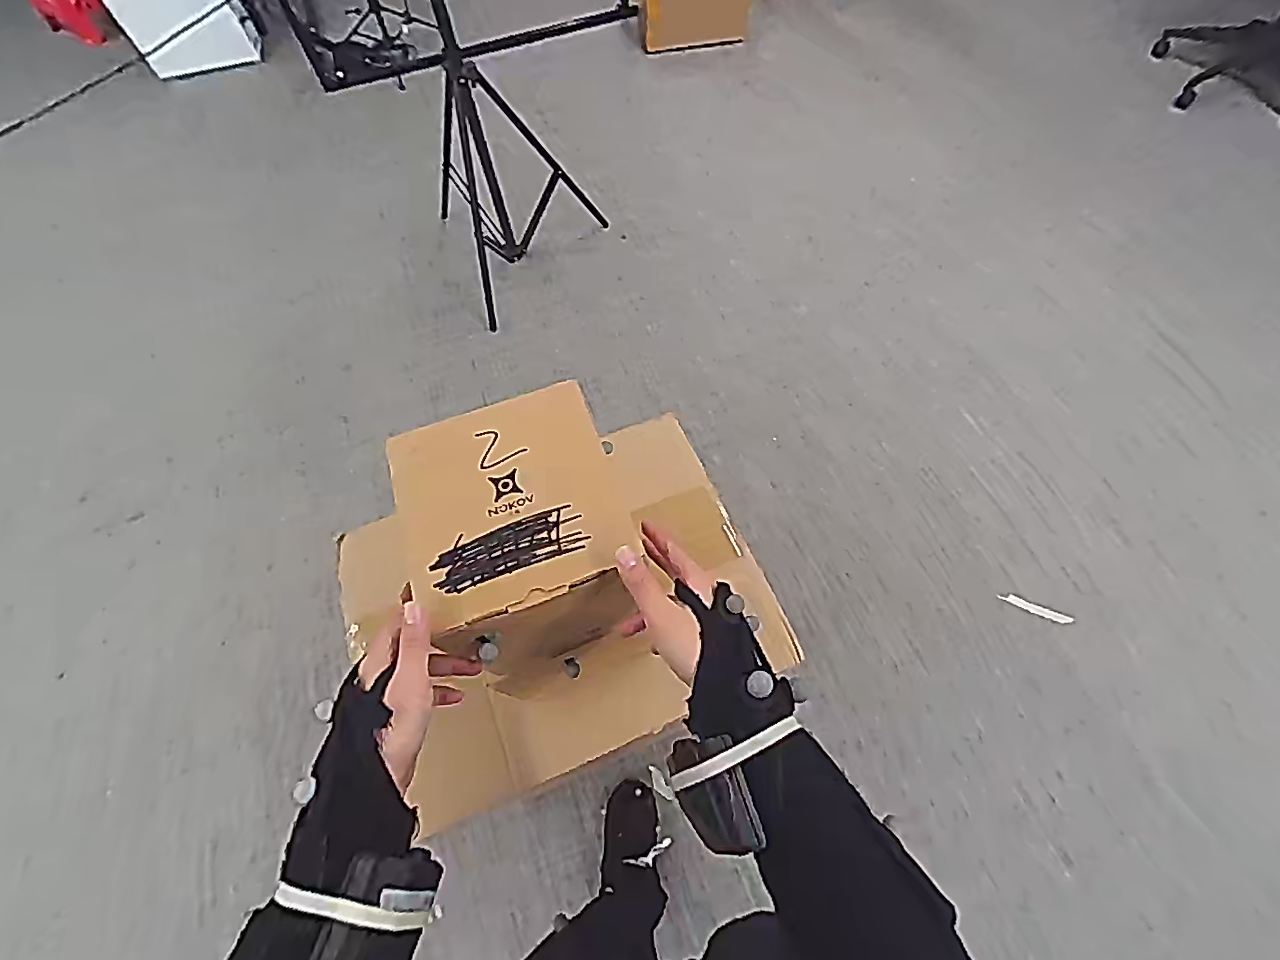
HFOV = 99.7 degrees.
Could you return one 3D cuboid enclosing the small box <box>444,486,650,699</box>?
[{"bbox_3d":[-0.098,0.136,0.626,0.179,0.176,0.168,-21,64,-8],"label":"small box"}]
